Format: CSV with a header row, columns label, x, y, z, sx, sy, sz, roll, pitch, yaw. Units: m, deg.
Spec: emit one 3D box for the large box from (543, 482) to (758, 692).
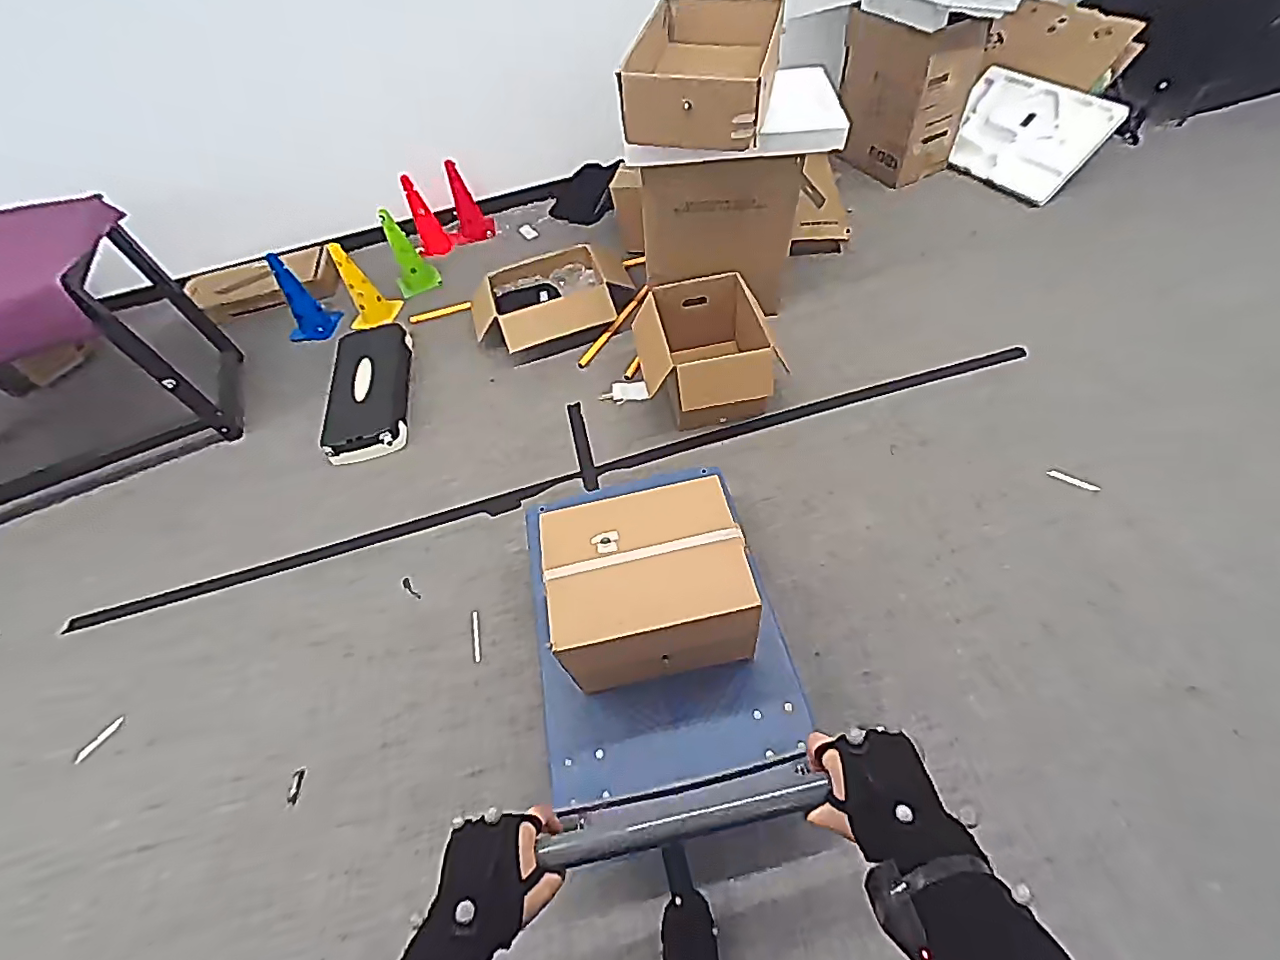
label,x,y,z,sx,sy,sz,roll,pitch,yaw
large box,0.025,0.253,1.238,0.408,0.320,0.320,-14,53,0
